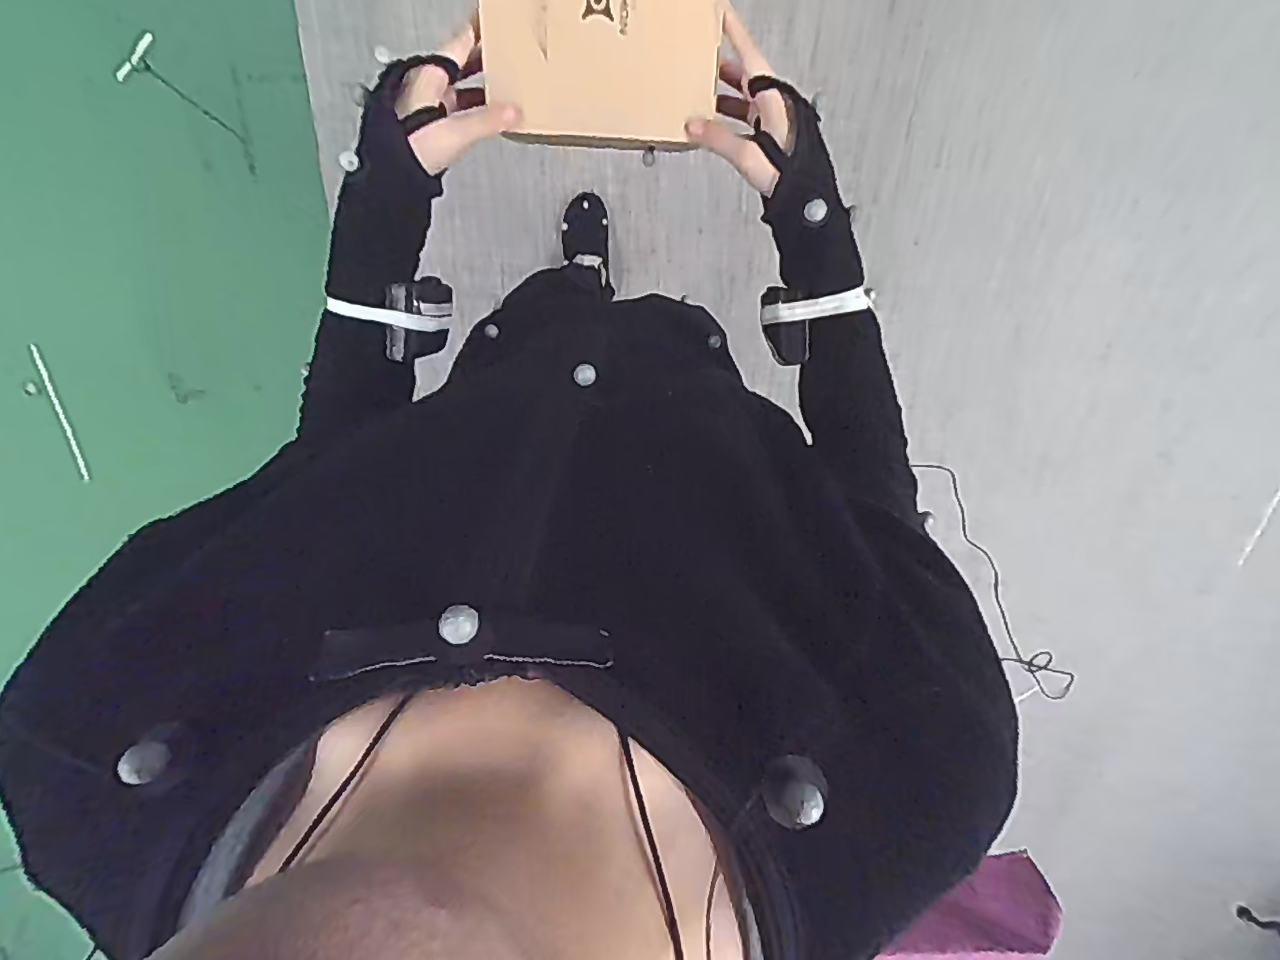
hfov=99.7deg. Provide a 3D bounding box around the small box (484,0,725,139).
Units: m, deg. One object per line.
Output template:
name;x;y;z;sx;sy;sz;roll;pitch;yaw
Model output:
small box;-0.030;-0.392;0.452;0.179;0.176;0.168;1;118;-5
